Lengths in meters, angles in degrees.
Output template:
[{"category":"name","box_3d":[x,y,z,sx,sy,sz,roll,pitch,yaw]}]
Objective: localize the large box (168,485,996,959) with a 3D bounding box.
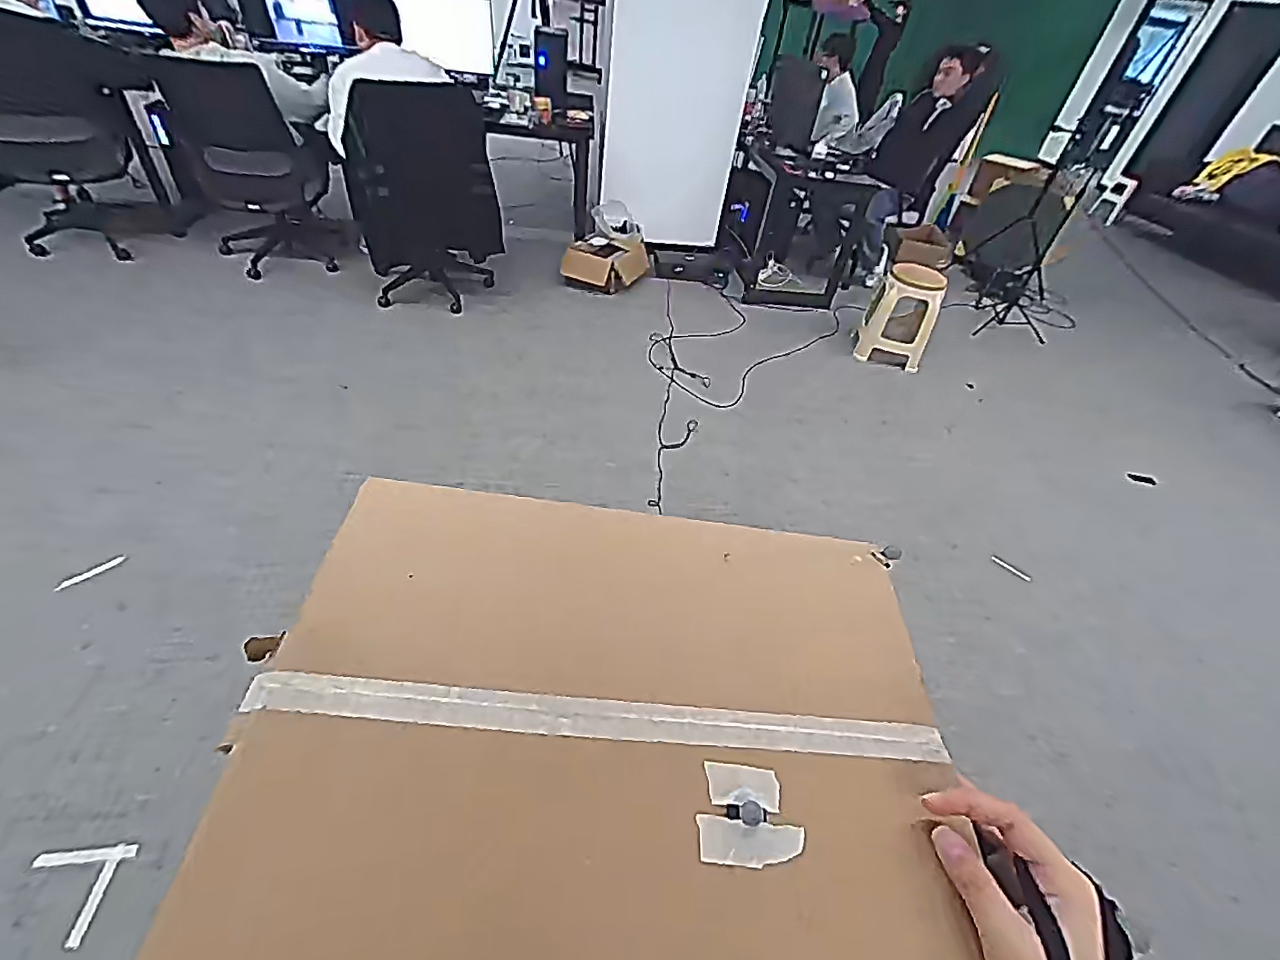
[{"category":"large box","box_3d":[-0.034,0.240,0.441,0.408,0.320,0.320,9,49,-7]}]
